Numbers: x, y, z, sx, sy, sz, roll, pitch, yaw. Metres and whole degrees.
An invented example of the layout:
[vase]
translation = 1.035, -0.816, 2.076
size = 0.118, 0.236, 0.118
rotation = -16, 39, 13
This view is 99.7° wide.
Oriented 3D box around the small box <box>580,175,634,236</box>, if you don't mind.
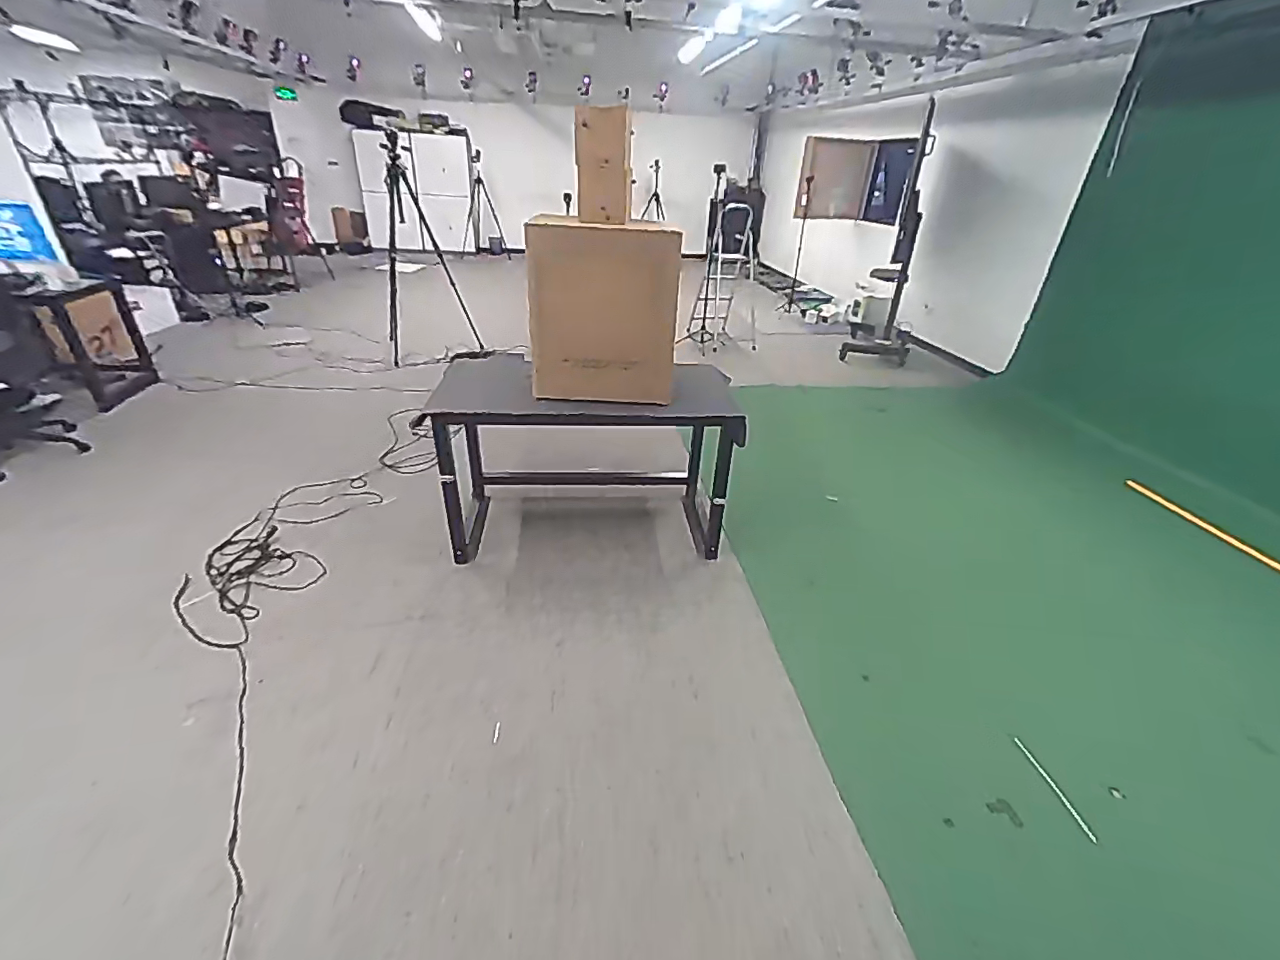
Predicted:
[small box]
translation = -0.116, -0.959, 1.886
size = 0.168, 0.176, 0.179
rotation = 5, 32, 3
